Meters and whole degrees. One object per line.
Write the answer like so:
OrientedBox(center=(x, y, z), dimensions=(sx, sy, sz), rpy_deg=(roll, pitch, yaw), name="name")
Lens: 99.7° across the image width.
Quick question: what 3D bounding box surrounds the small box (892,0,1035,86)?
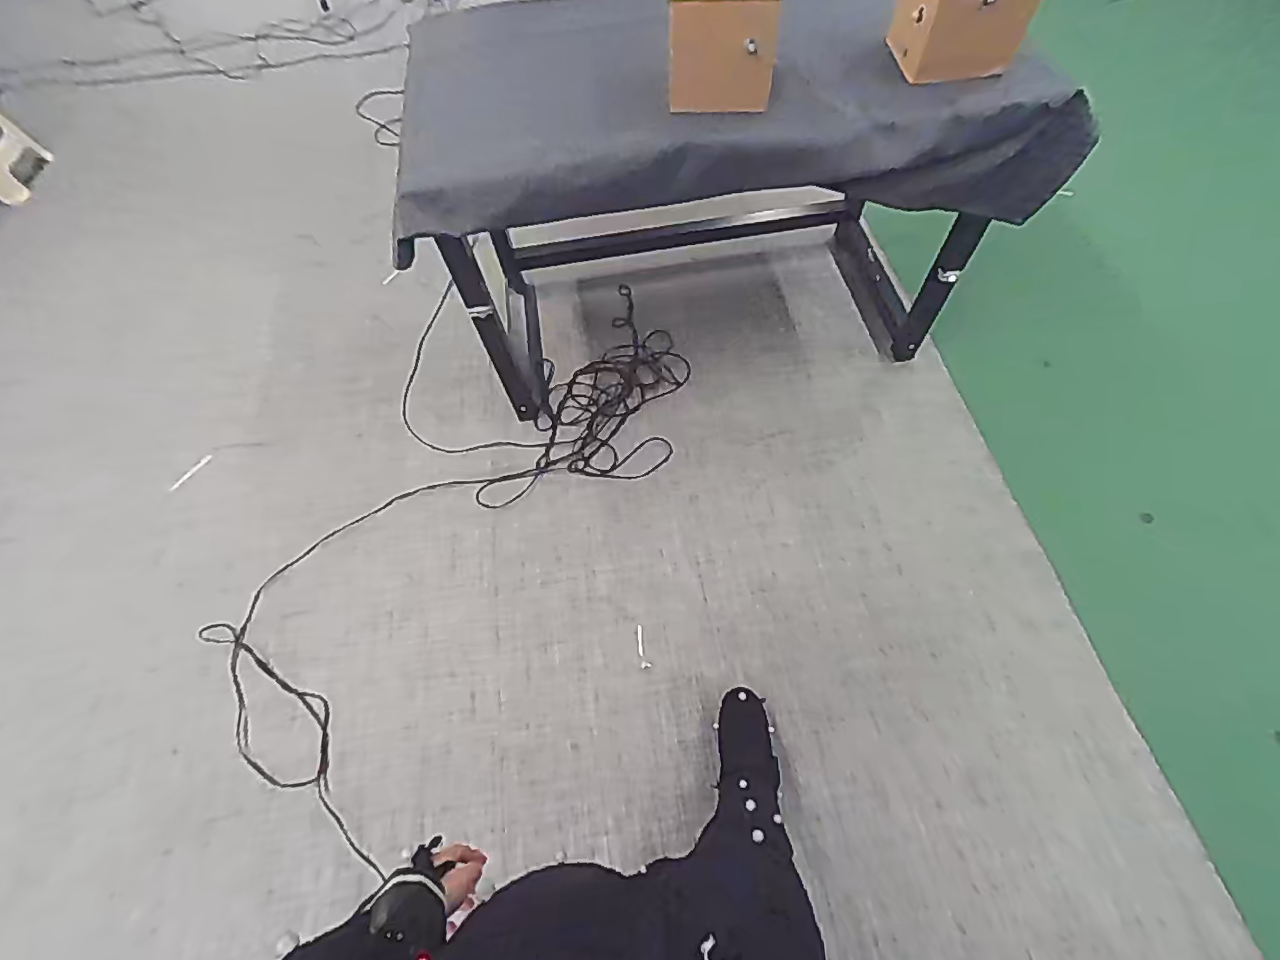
OrientedBox(center=(0.567, -0.828, 0.952), dimensions=(0.179, 0.176, 0.168), rpy_deg=(-4, 63, 1), name="small box")
